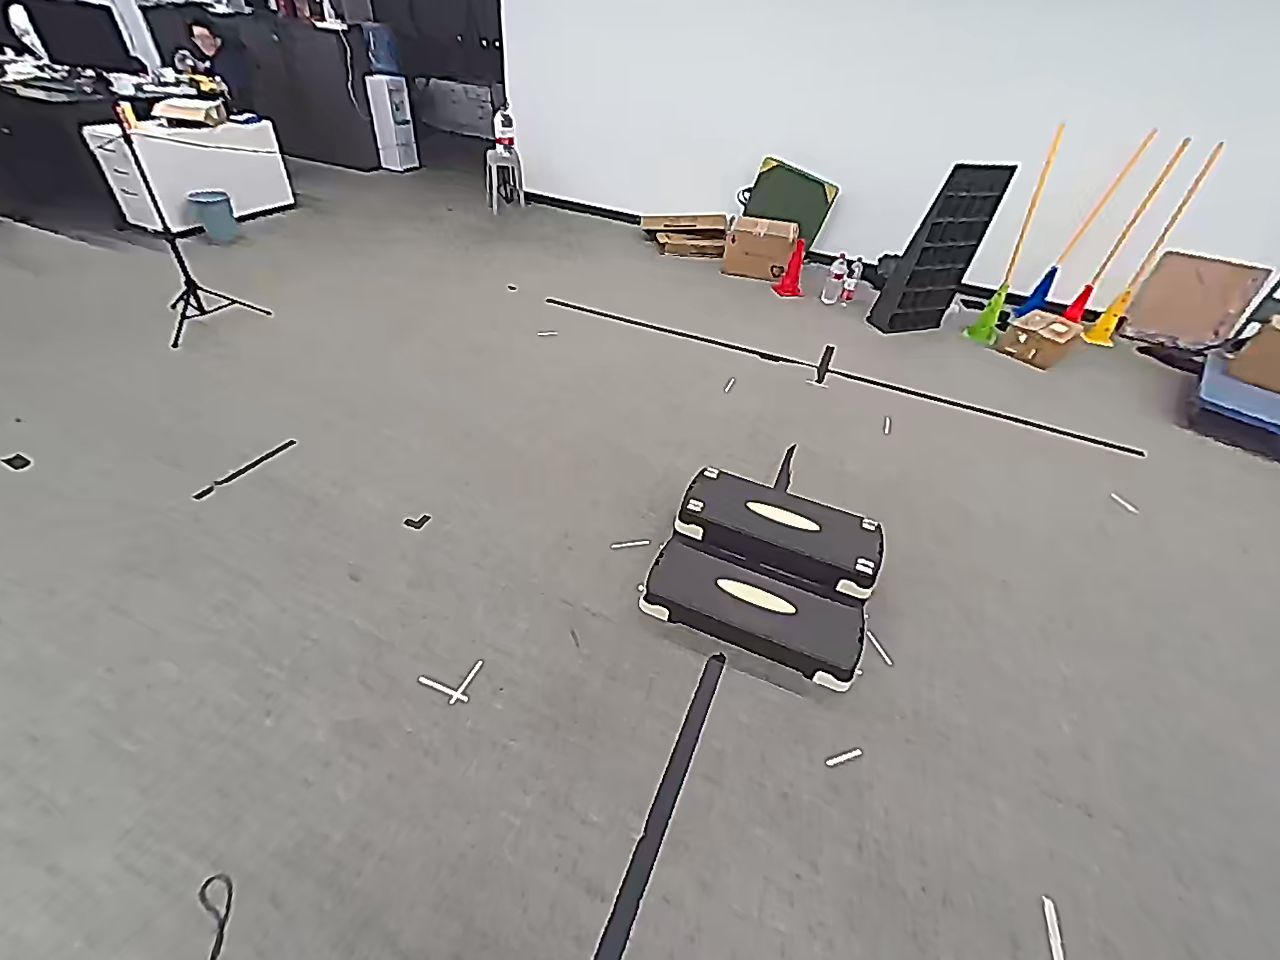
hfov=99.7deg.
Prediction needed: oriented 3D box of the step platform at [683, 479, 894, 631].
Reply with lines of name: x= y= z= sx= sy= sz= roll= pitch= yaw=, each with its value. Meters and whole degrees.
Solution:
step platform: x=0.503 y=0.237 z=1.867 sx=0.684 sy=0.204 sz=0.286 roll=22 pitch=42 yaw=18
